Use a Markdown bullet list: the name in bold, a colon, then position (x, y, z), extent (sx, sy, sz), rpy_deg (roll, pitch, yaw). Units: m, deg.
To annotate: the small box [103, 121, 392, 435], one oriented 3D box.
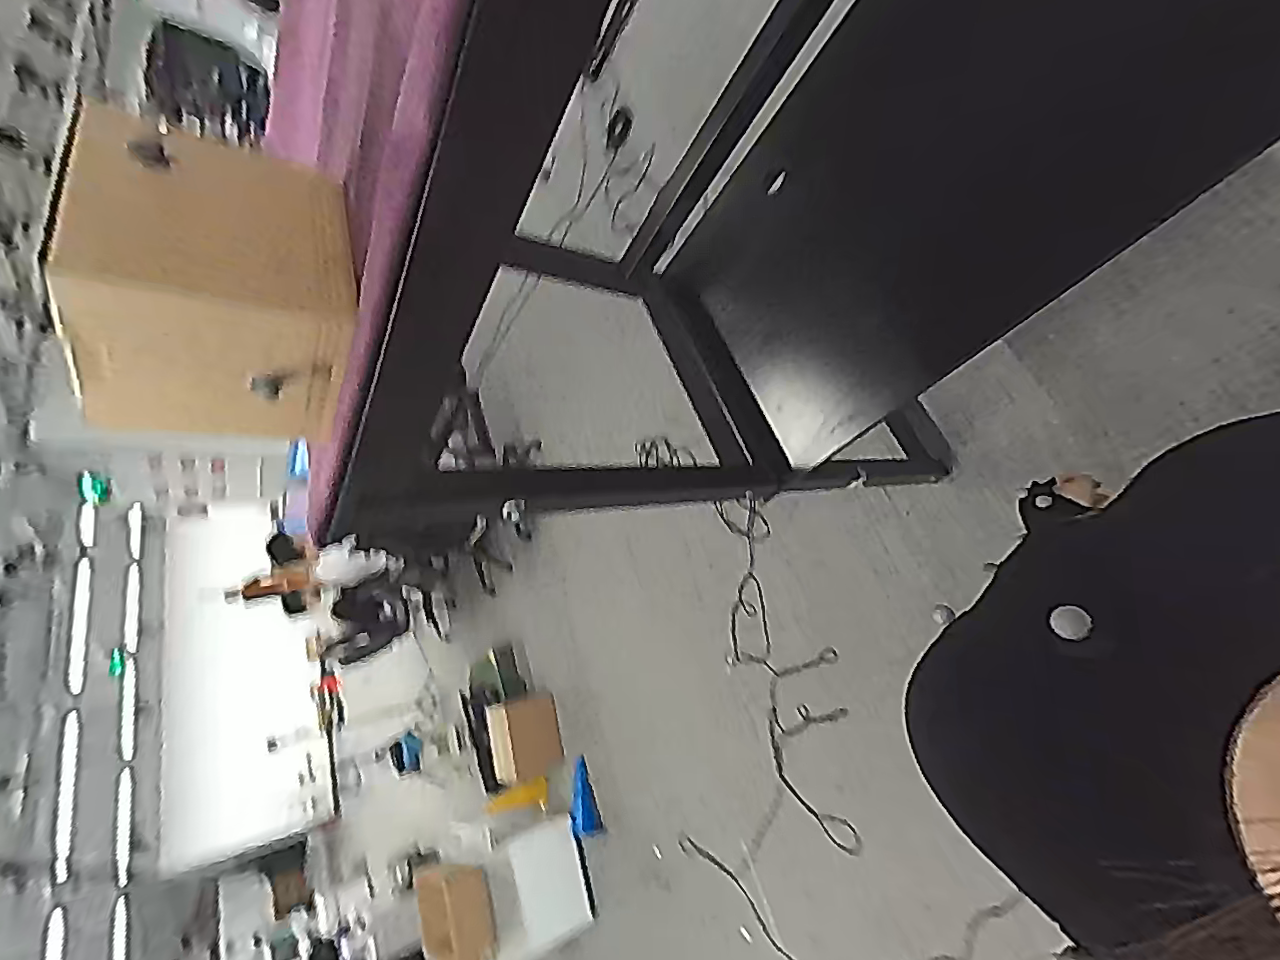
- **small box**: position (-0.327, -0.152, 0.466), extent (0.168, 0.176, 0.179), rpy_deg (-45, 56, 44)
